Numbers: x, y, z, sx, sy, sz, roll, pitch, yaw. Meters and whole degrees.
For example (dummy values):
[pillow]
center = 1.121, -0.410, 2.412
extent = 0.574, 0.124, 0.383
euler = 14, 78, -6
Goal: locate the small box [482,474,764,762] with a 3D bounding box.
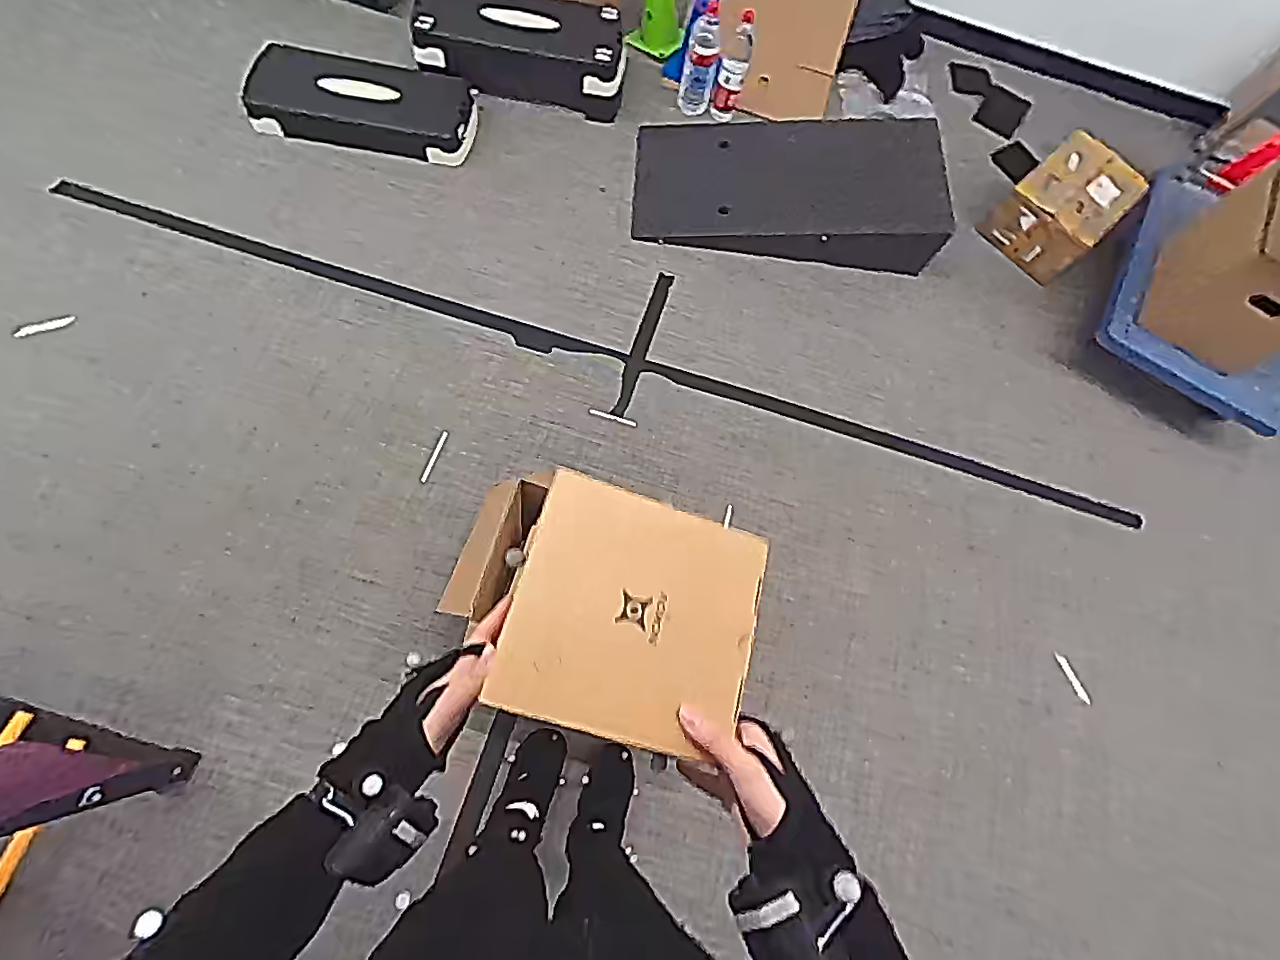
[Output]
[small box]
center = -0.023, 0.120, 0.460
extent = 0.179, 0.176, 0.168
euler = 20, 67, -10
